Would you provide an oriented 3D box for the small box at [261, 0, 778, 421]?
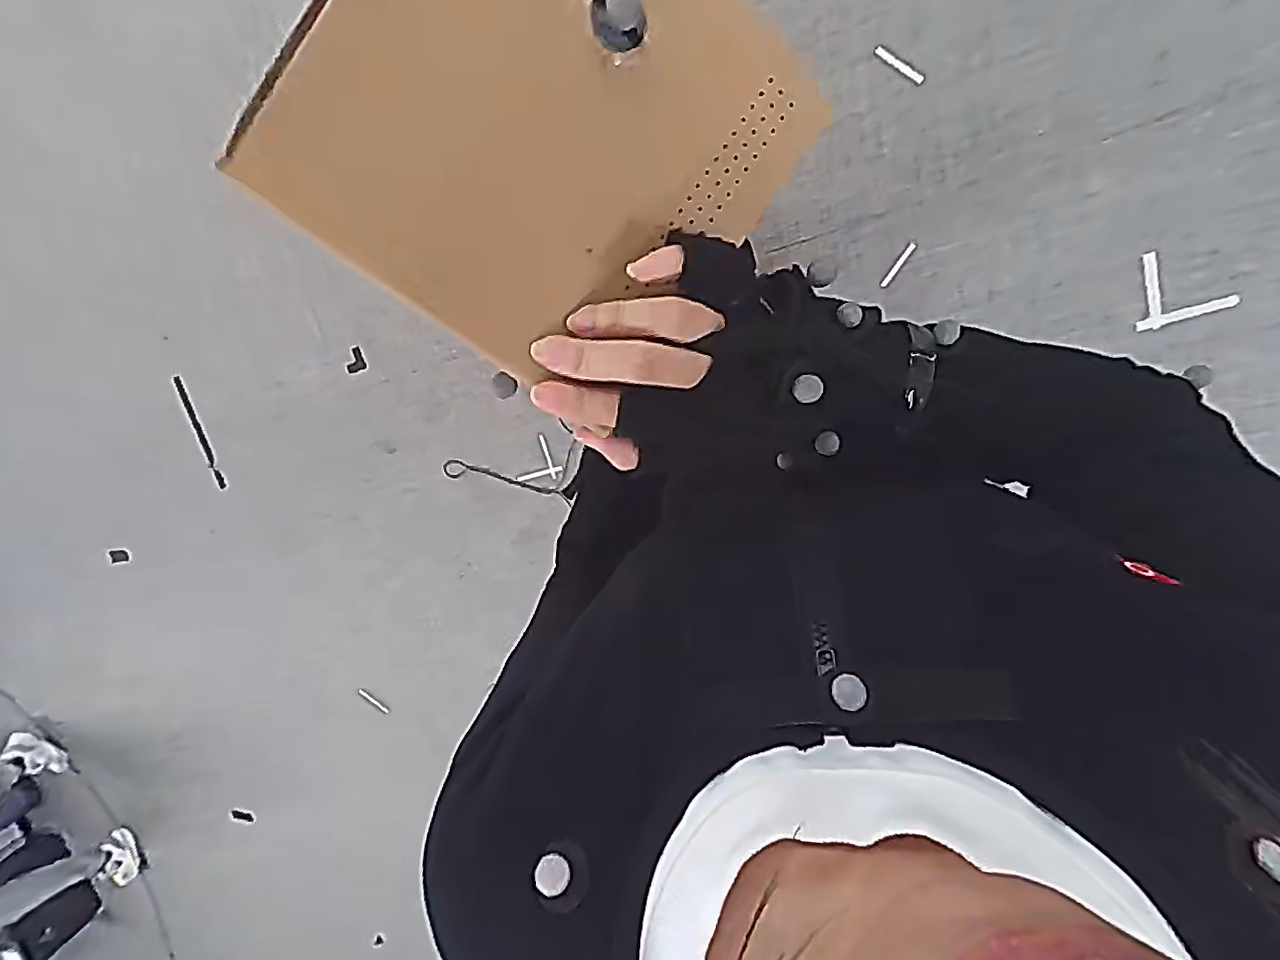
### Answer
[{"bbox_3d":[-0.051,-0.159,0.298,0.176,0.168,0.179,32,95,-21],"label":"small box"}]
